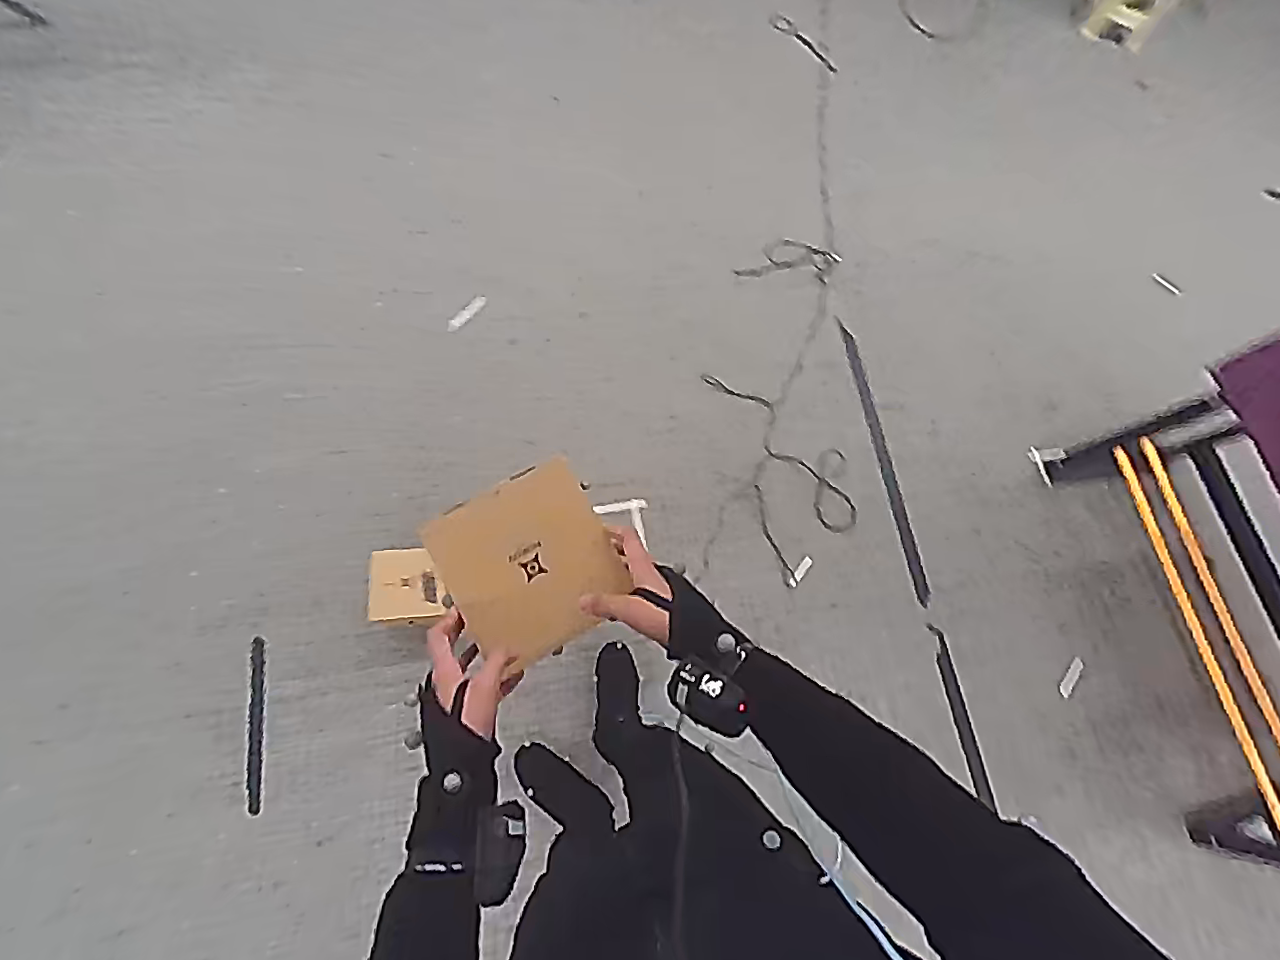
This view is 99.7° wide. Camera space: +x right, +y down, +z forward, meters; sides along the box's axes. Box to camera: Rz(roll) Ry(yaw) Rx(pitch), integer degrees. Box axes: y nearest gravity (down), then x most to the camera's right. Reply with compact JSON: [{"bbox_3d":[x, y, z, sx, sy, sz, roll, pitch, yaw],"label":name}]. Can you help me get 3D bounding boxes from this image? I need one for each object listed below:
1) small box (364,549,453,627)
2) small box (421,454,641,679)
[{"bbox_3d":[-0.566,0.271,1.348,0.179,0.176,0.168,-3,71,-10],"label":"small box"},{"bbox_3d":[-0.116,0.094,0.617,0.168,0.176,0.179,-27,85,-12],"label":"small box"}]
